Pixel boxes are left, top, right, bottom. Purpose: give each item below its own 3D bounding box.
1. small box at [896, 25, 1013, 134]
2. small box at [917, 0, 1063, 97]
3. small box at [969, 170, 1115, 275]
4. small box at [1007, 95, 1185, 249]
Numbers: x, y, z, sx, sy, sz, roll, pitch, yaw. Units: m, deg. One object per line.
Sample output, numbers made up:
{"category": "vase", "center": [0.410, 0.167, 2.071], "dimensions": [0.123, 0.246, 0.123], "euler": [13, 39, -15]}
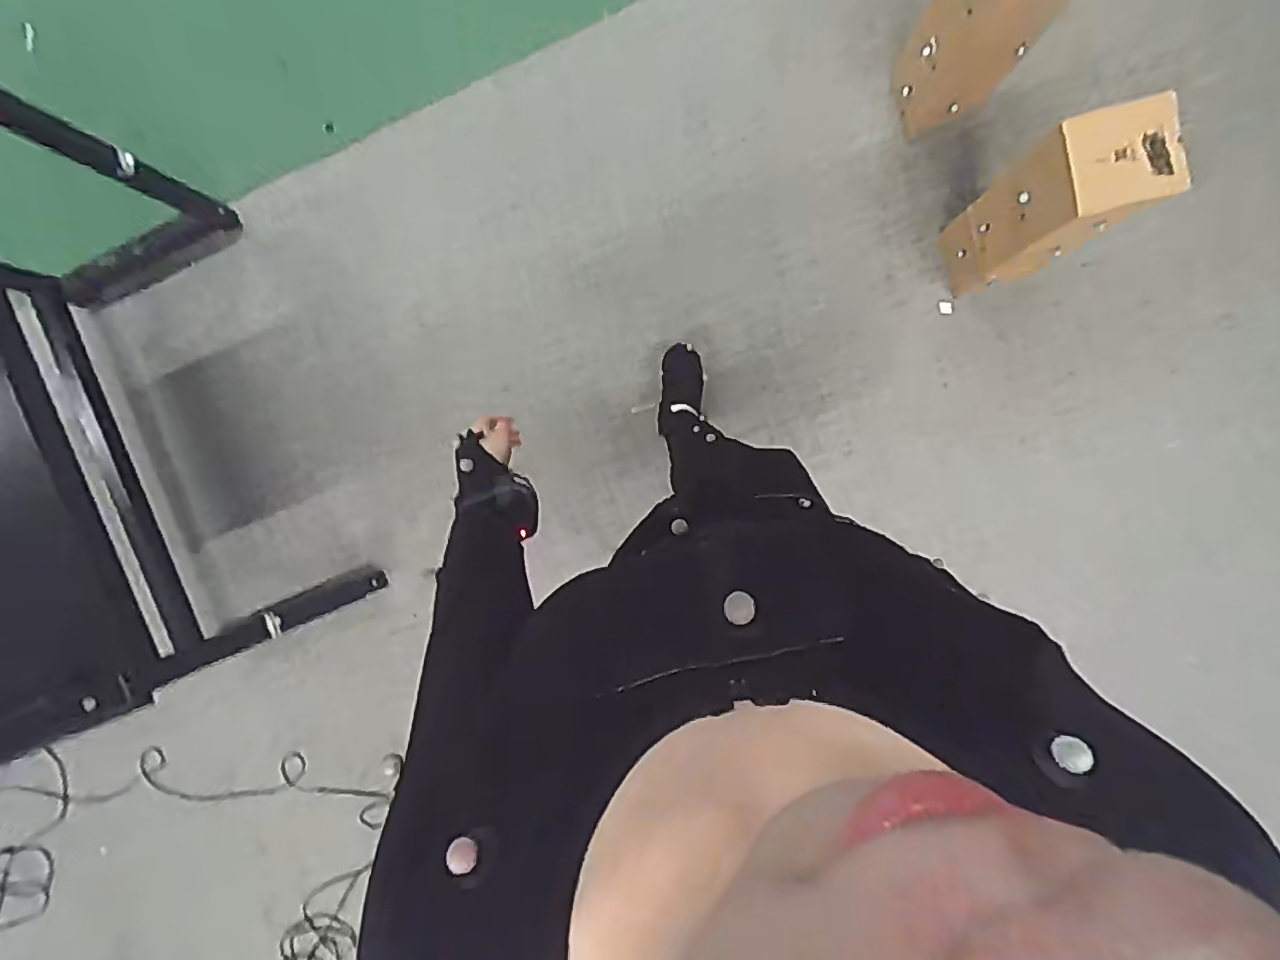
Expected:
{"category": "small box", "center": [0.736, -0.972, 1.291], "dimensions": [0.179, 0.176, 0.168], "euler": [-17, 92, 7]}
{"category": "small box", "center": [0.719, -0.958, 1.130], "dimensions": [0.179, 0.176, 0.168], "euler": [-20, 90, 8]}
{"category": "small box", "center": [0.839, -0.558, 1.144], "dimensions": [0.179, 0.176, 0.168], "euler": [-13, 92, 7]}
{"category": "small box", "center": [0.814, -0.545, 0.981], "dimensions": [0.179, 0.176, 0.168], "euler": [-11, 92, 8]}
